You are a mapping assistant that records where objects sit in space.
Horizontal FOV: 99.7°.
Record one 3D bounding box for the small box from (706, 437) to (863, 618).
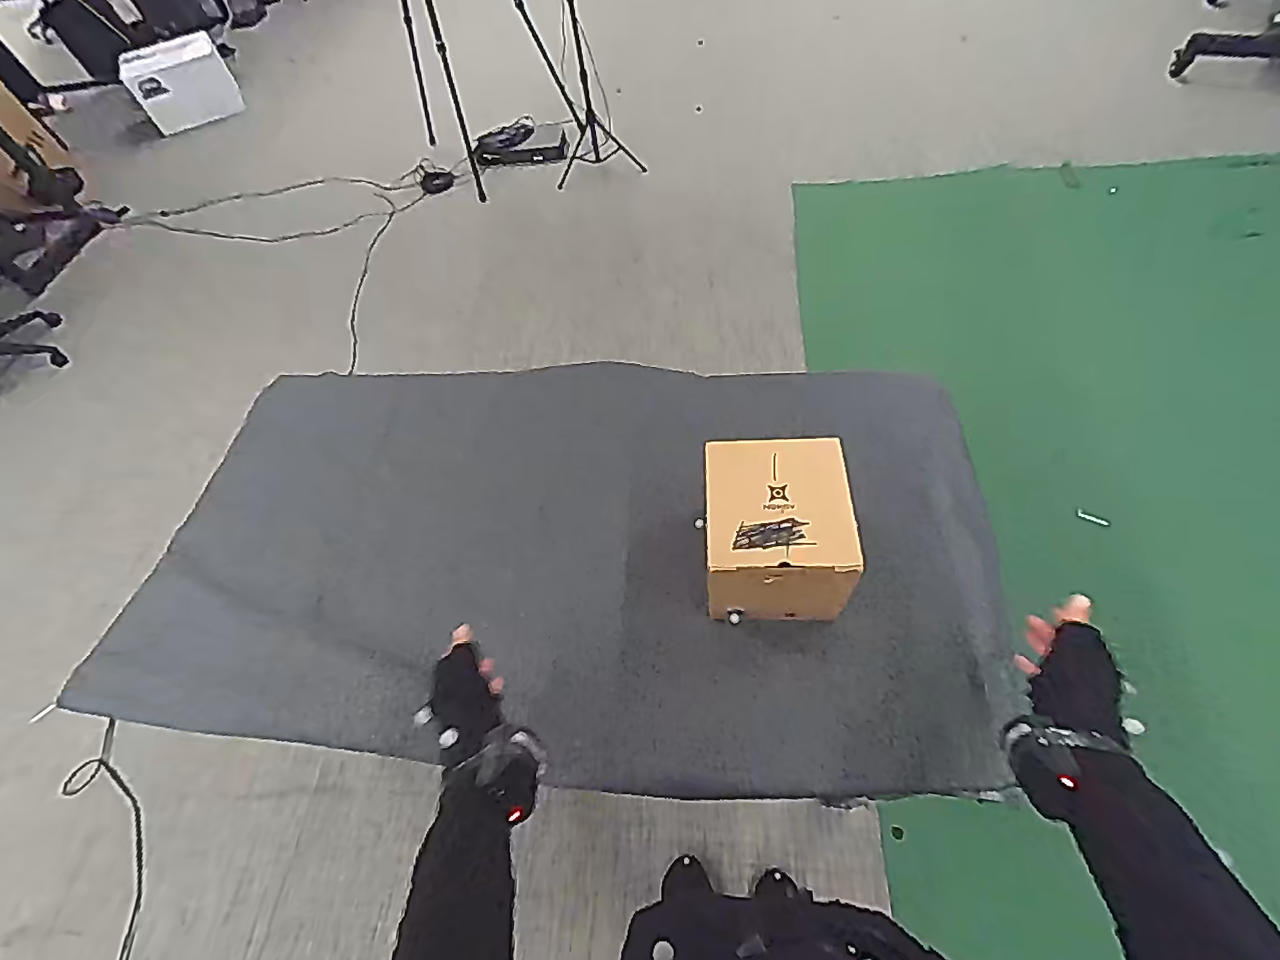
[{"bbox_3d":[0.169,0.066,0.685,0.168,0.176,0.179,-1,56,7],"label":"small box"}]
